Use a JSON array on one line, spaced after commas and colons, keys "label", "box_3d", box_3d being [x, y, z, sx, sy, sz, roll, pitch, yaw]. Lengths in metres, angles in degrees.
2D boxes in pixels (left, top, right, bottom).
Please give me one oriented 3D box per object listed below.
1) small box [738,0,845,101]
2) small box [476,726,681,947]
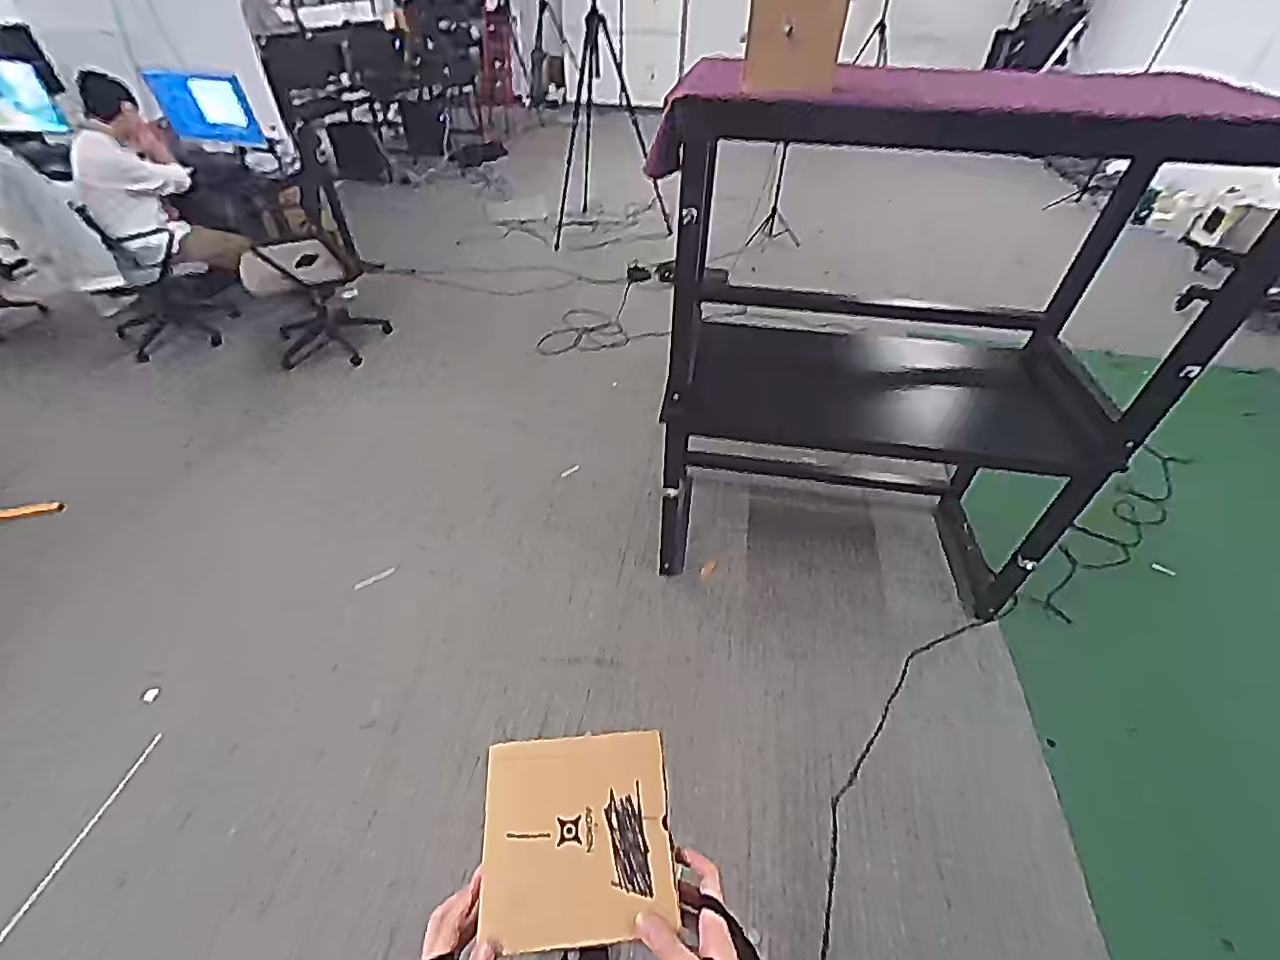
[{"label": "small box", "box_3d": [0.291, -0.851, 1.056, 0.179, 0.176, 0.168, 8, 43, 8]}, {"label": "small box", "box_3d": [-0.061, 0.369, 0.568, 0.179, 0.176, 0.168, -2, 53, -5]}]
